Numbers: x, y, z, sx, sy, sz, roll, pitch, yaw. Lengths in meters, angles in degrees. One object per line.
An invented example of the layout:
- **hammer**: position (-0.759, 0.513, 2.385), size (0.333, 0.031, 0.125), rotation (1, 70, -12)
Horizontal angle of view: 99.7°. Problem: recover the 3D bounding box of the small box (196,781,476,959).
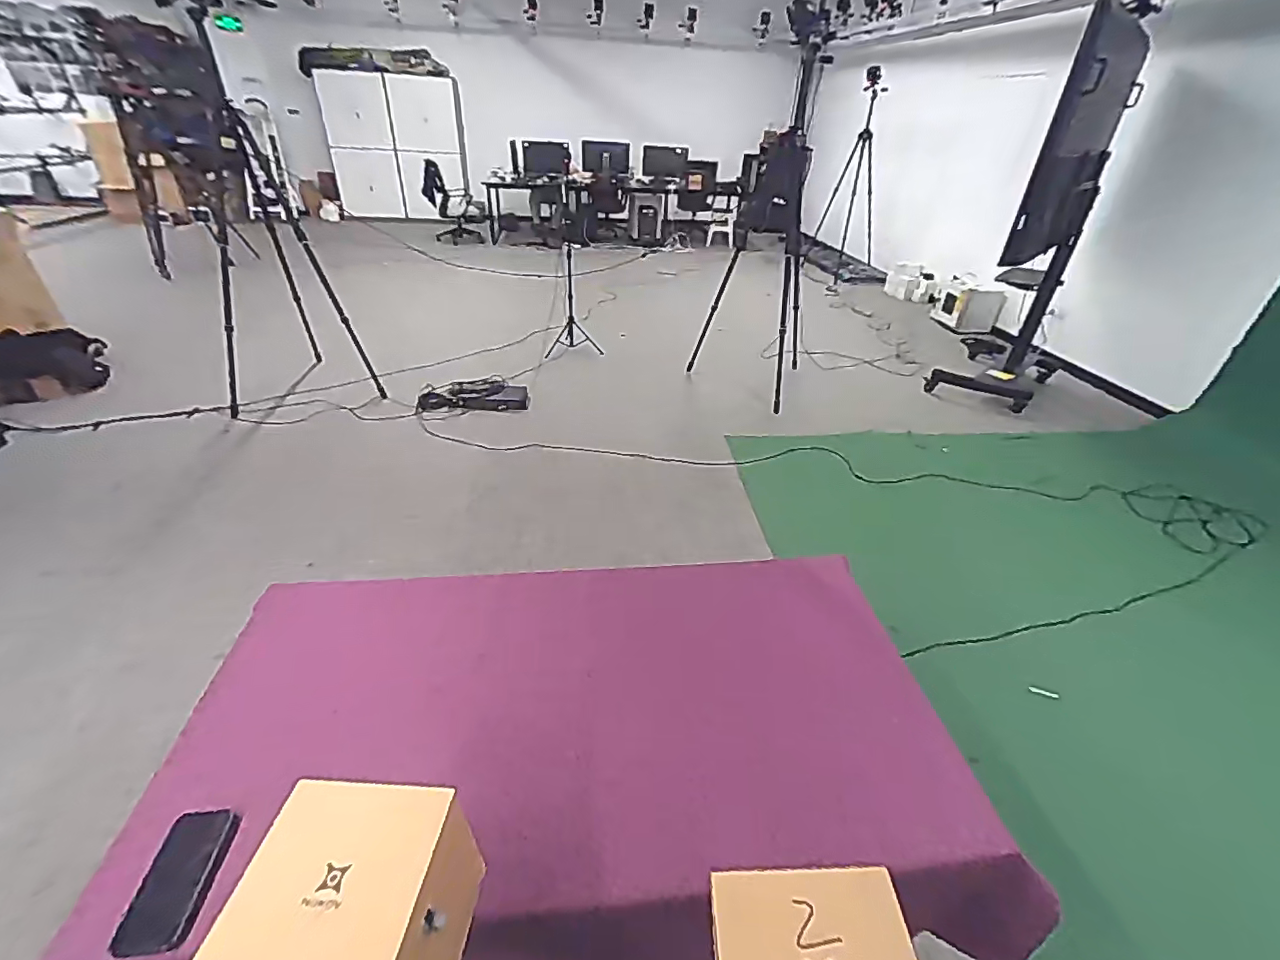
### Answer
- **small box**: position (-0.270, 0.426, 0.522), size (0.168, 0.176, 0.179), rotation (2, 34, 4)
